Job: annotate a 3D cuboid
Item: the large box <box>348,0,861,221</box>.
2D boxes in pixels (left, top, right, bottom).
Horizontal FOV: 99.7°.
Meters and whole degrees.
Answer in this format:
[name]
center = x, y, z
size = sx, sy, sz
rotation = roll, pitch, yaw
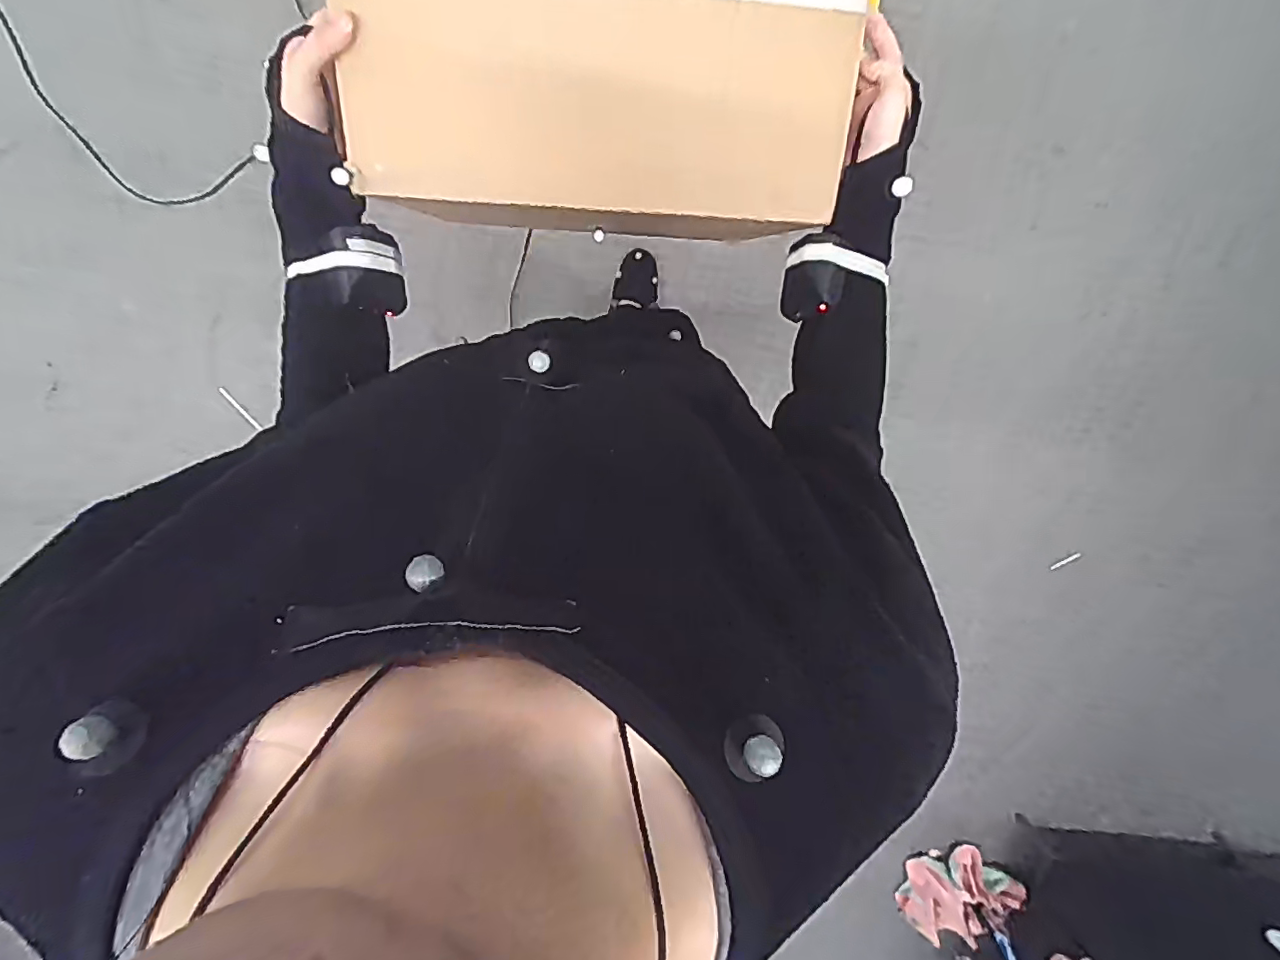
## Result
[large box]
center = -0.030, -0.443, 0.547
size = 0.408, 0.320, 0.320
rotation = 1, 111, -5
